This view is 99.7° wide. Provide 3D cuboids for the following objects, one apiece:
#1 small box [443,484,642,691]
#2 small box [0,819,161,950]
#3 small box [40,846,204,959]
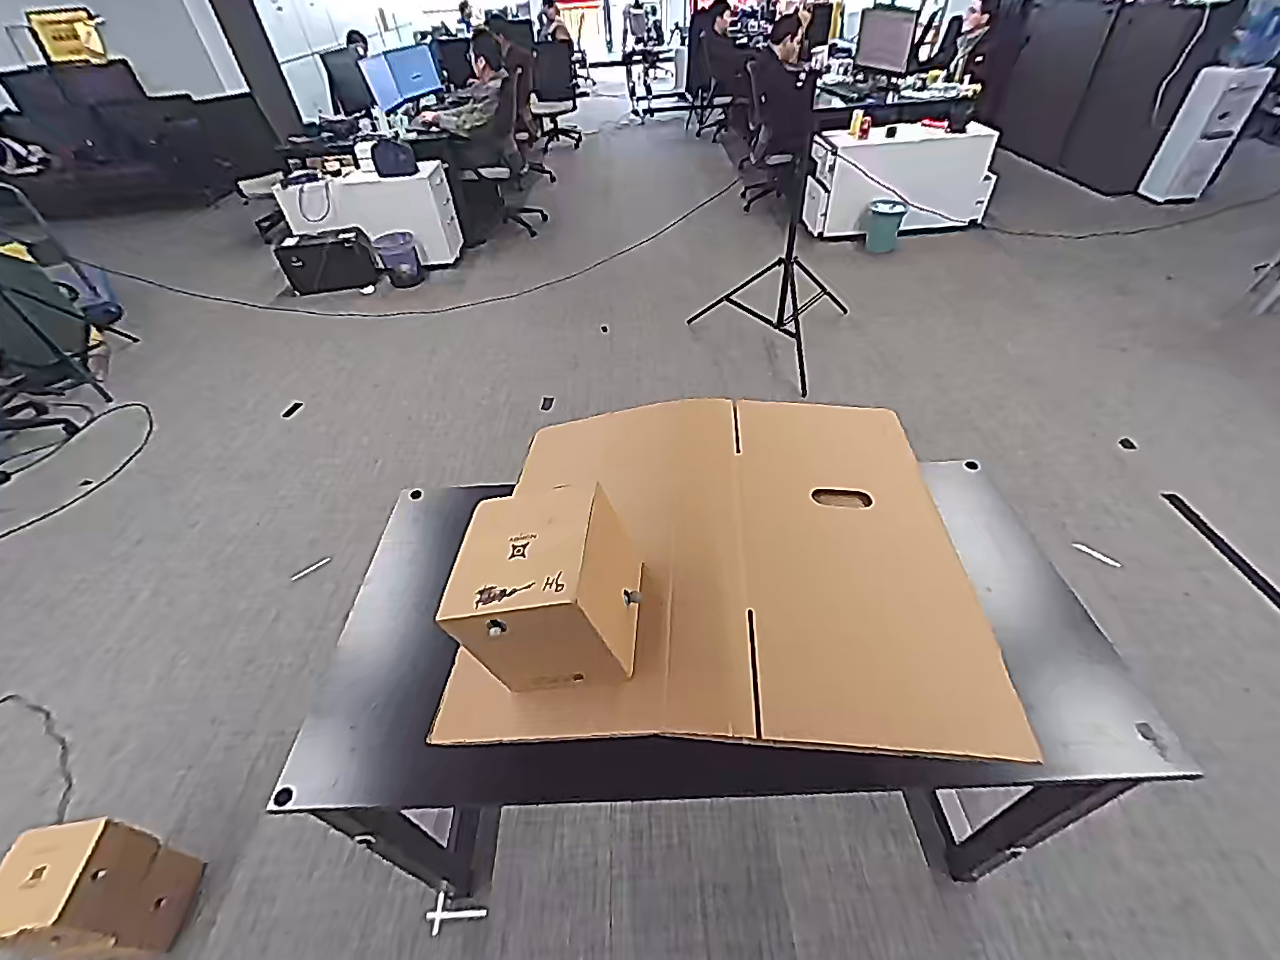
[{"bbox_3d":[-0.102,0.134,0.663,0.168,0.176,0.179,-12,41,16],"label":"small box"},{"bbox_3d":[-1.129,0.815,1.085,0.168,0.176,0.179,-7,42,-4],"label":"small box"},{"bbox_3d":[-1.118,0.937,1.191,0.168,0.176,0.179,-6,44,-1],"label":"small box"}]
